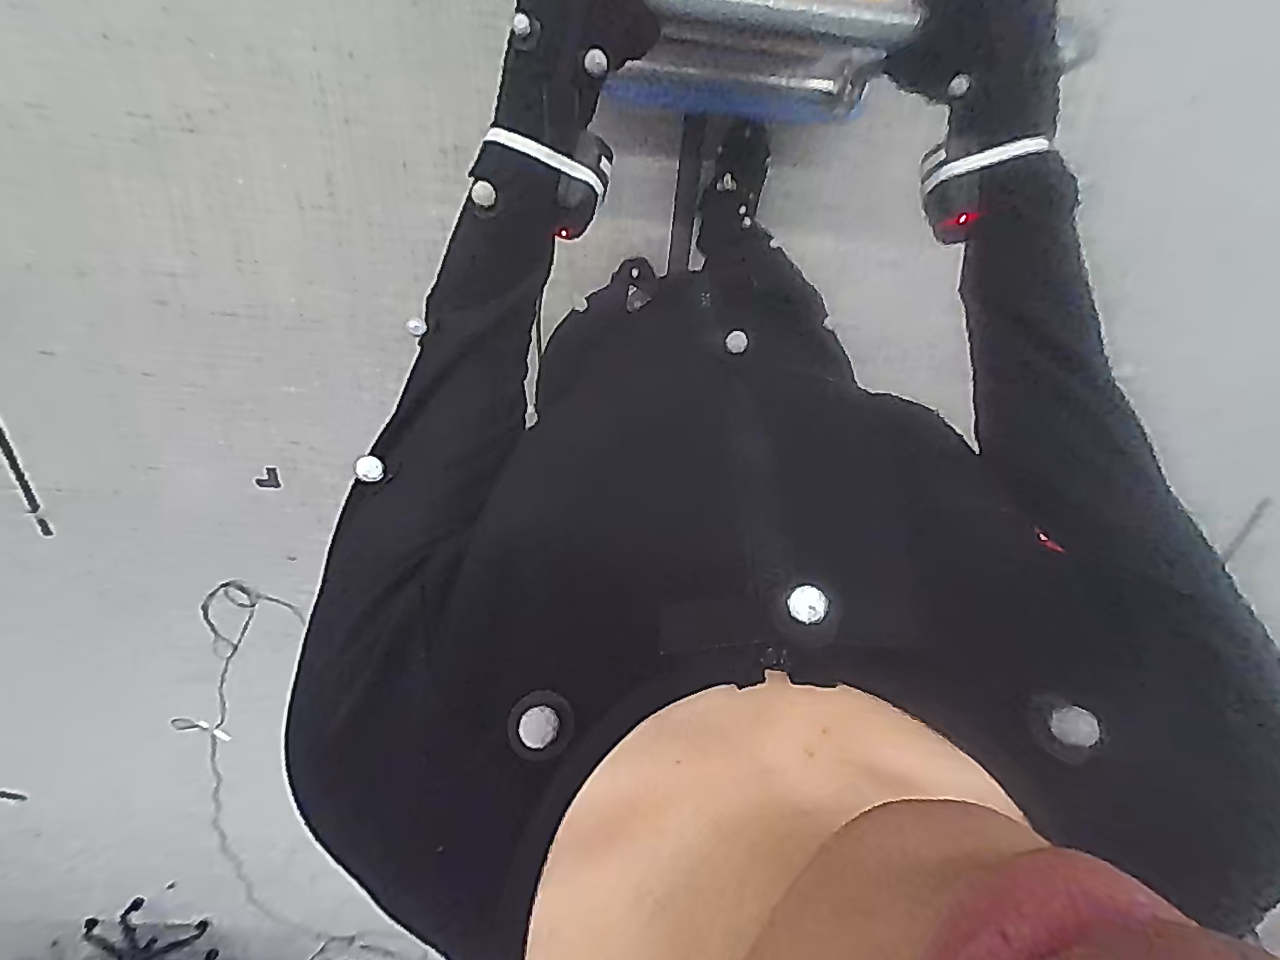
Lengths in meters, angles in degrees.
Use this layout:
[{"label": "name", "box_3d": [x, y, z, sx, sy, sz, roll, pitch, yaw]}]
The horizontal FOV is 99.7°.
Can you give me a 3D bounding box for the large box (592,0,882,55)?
[{"label": "large box", "box_3d": [0.135, -0.847, 0.766, 0.408, 0.320, 0.320, 4, 118, -4]}]
